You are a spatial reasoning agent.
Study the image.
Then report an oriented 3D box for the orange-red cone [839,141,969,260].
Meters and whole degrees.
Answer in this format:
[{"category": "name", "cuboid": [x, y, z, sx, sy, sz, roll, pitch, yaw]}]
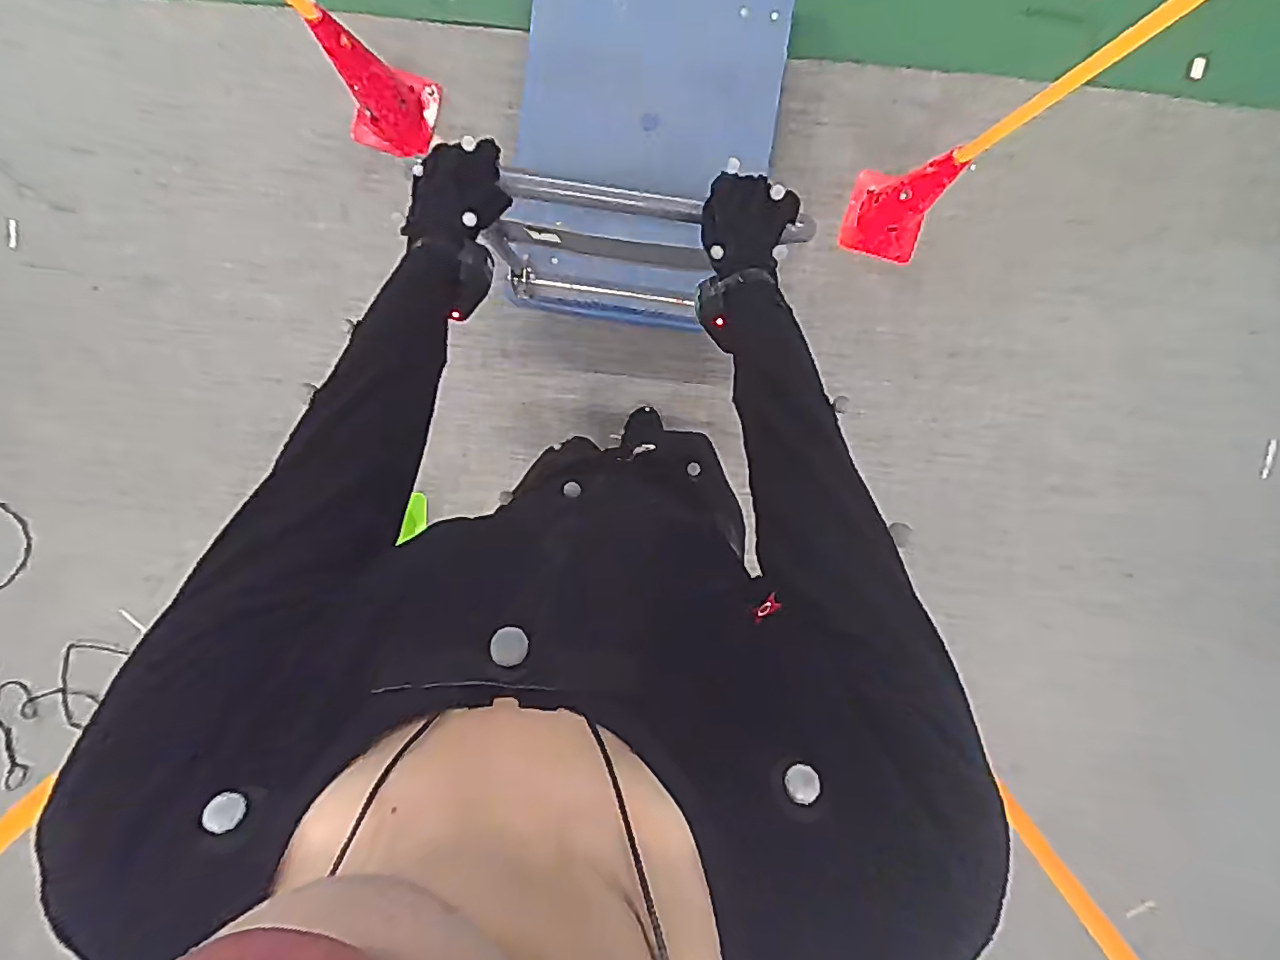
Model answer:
[{"category": "orange-red cone", "cuboid": [0.631, -0.667, 1.232, 0.198, 0.360, 0.199, 16, 98, -1]}]
